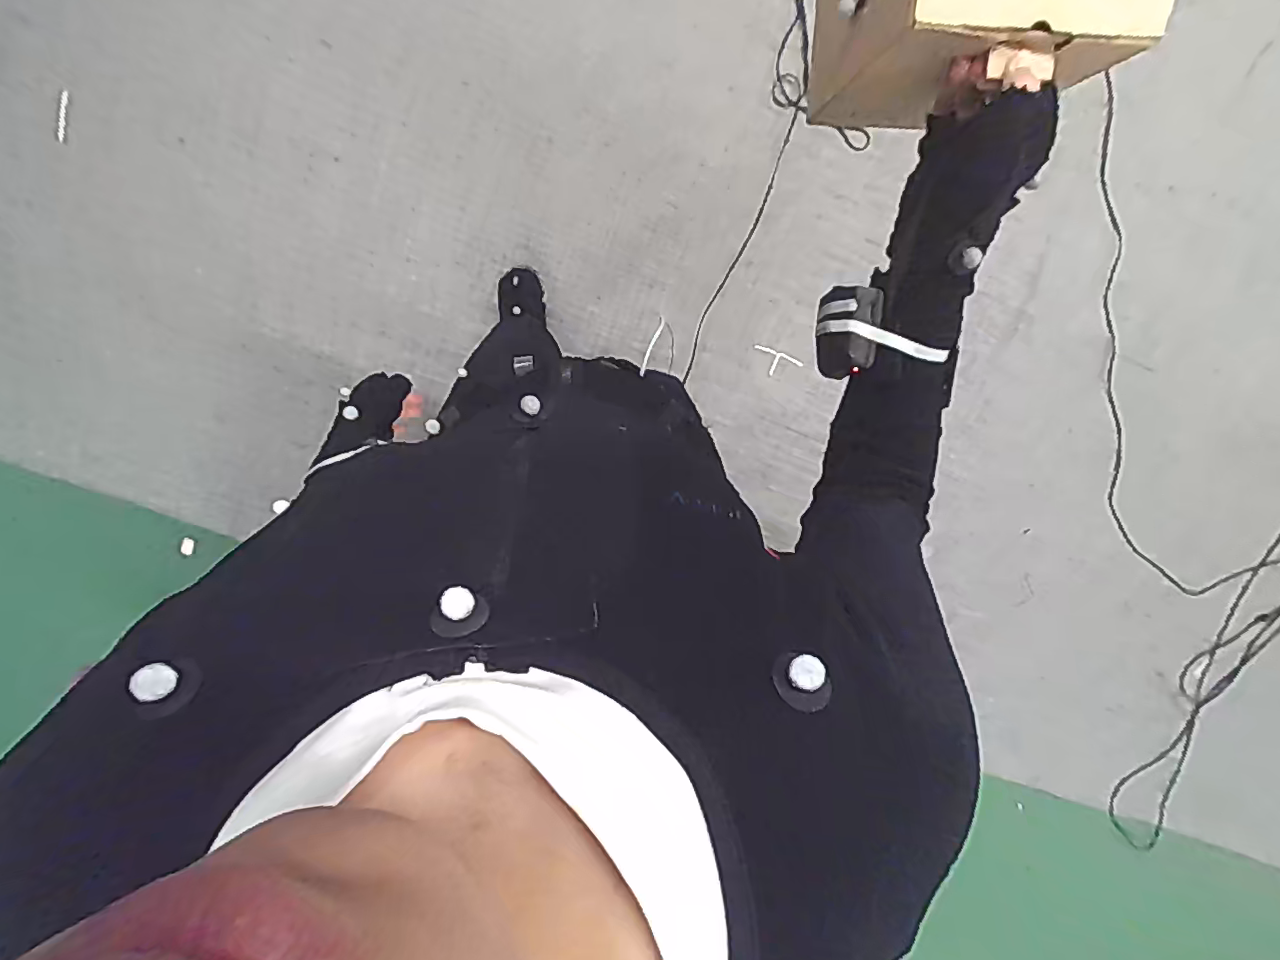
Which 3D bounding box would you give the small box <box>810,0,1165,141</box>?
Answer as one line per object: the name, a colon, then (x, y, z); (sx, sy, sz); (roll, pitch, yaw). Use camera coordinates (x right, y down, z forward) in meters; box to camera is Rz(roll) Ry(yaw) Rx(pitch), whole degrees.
small box: (0.236, -0.366, 0.387); (0.168, 0.176, 0.179); (0, 106, -6)
